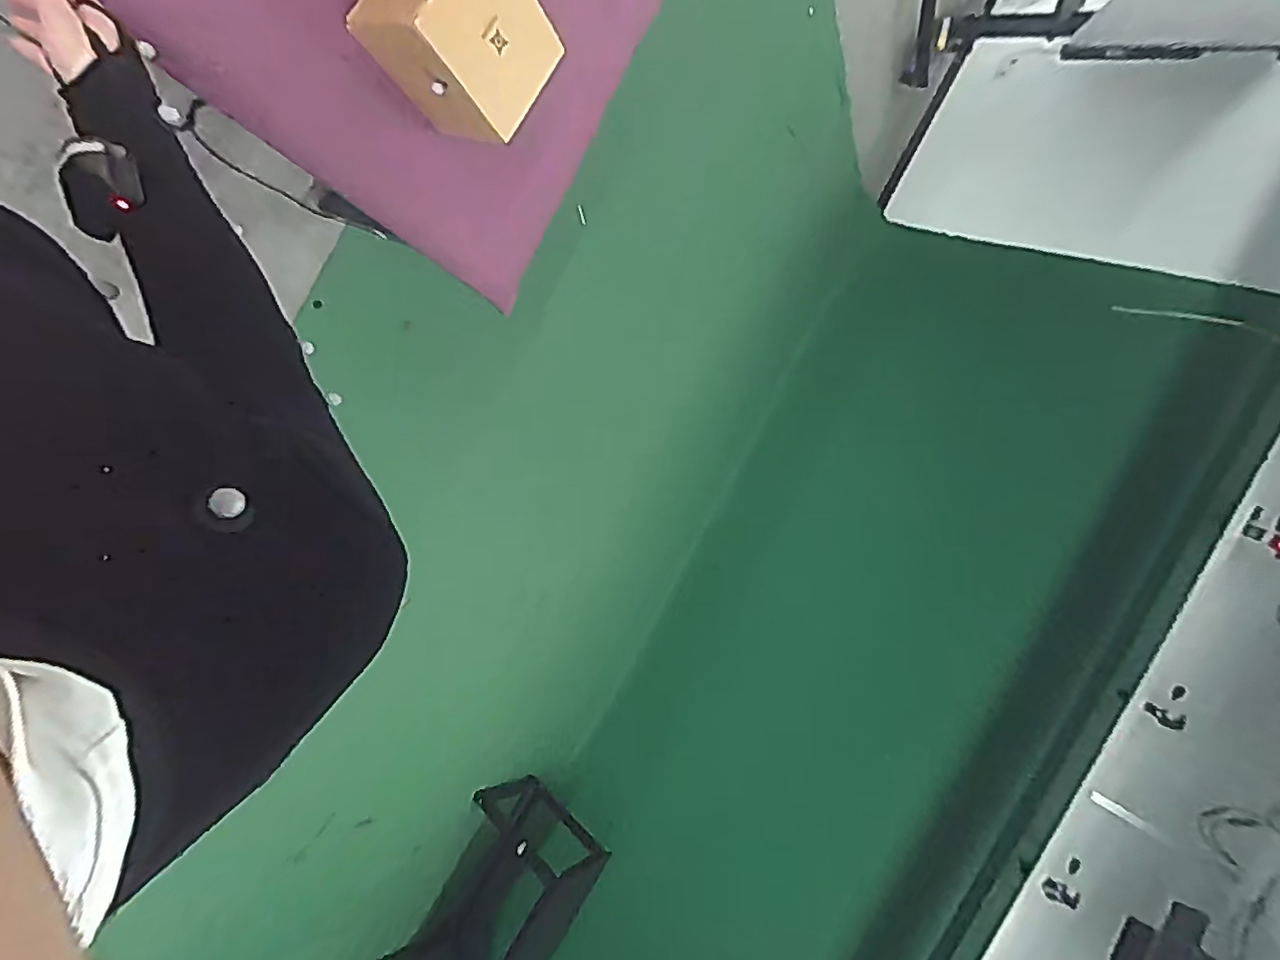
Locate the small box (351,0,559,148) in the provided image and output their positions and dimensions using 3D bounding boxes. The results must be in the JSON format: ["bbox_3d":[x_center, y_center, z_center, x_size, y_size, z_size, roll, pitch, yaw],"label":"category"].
[{"bbox_3d":[-0.254,-0.608,0.753,0.168,0.176,0.179,-59,149,-3],"label":"small box"}]
